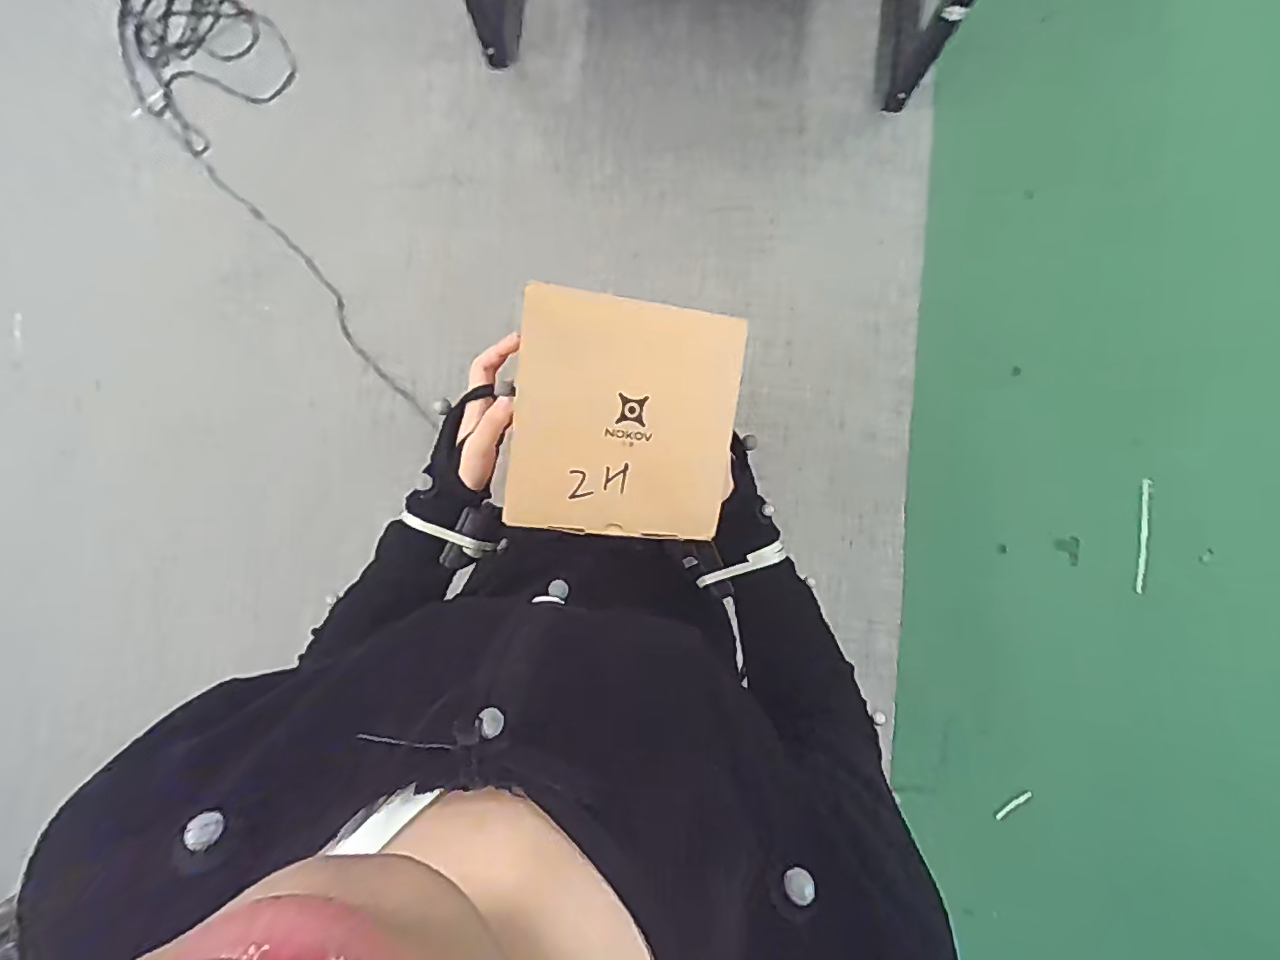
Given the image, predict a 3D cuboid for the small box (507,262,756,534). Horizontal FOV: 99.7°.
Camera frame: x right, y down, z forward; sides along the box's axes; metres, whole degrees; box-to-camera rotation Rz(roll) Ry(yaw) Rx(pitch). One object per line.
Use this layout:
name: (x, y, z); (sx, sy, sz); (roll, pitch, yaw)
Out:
small box: (-0.022, -0.063, 0.461); (0.168, 0.176, 0.179); (5, 98, -14)
